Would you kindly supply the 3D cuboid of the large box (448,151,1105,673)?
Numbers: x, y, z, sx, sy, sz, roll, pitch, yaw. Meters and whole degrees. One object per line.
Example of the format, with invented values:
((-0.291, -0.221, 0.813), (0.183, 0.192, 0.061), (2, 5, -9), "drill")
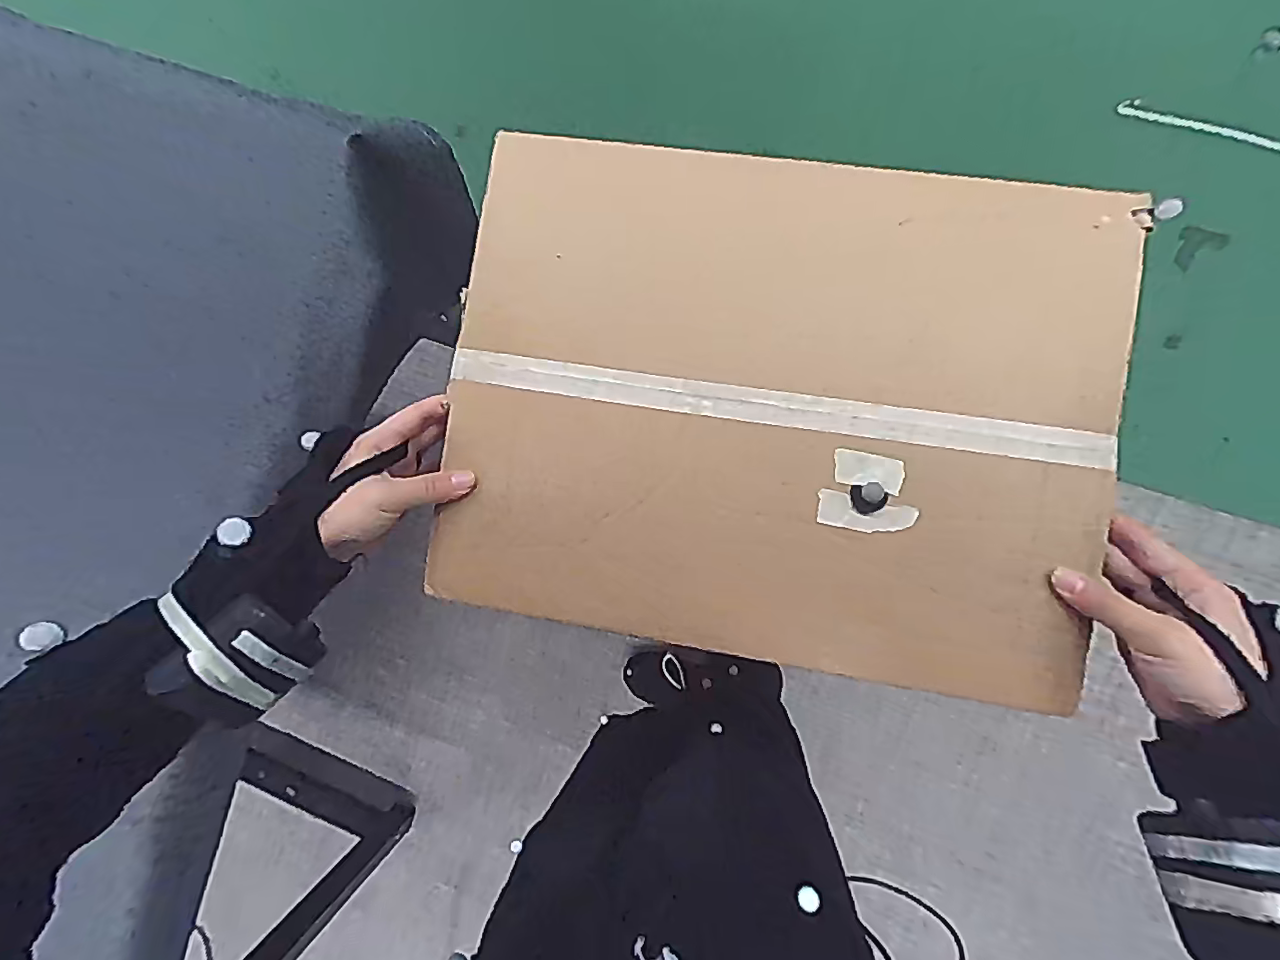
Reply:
((0.093, -0.048, 0.505), (0.408, 0.320, 0.320), (9, 89, 5), "large box")
